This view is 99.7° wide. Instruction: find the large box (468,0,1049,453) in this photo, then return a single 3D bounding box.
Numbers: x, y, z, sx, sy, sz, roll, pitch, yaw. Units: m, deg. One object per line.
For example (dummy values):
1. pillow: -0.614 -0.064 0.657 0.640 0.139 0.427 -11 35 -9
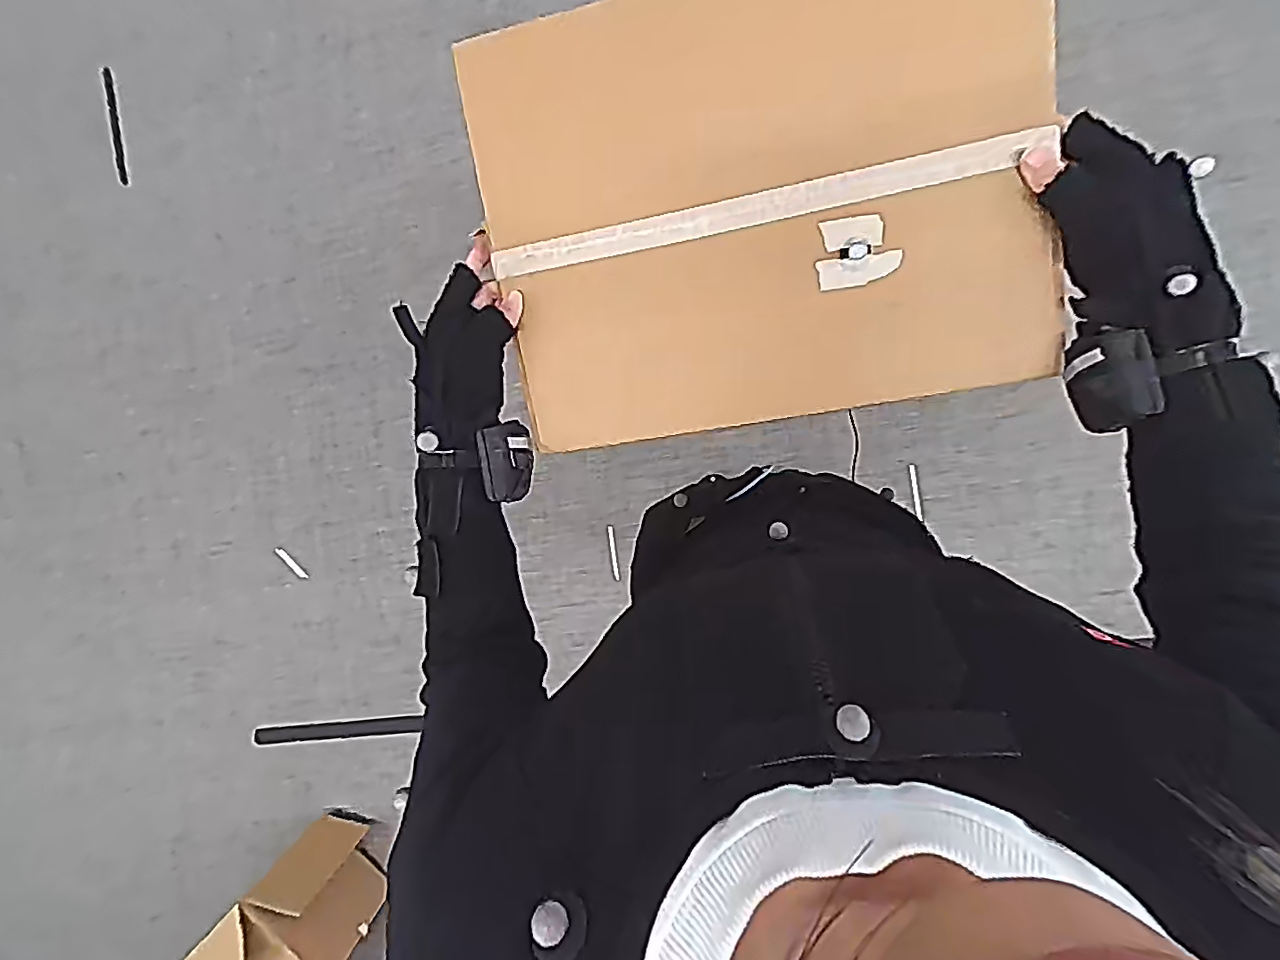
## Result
1. large box: 0.103 -0.232 0.555 0.408 0.320 0.320 -9 101 9
